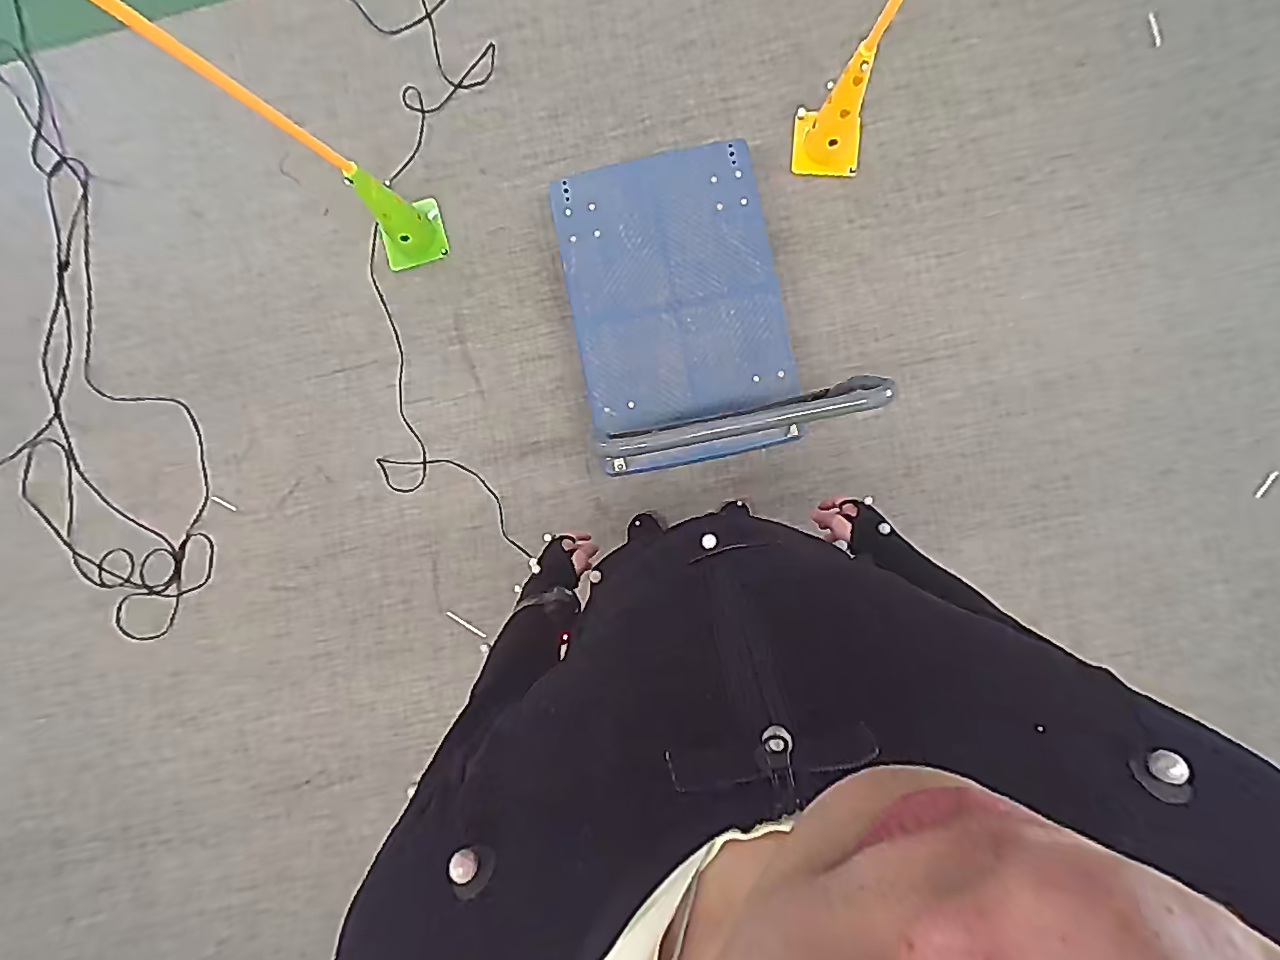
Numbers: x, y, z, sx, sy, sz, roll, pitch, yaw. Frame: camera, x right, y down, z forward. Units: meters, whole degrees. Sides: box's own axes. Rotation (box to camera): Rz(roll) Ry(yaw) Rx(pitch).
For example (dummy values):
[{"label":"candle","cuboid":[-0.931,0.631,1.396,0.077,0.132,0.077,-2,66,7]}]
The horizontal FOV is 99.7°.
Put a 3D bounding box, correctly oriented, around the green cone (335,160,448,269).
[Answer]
[{"label":"green cone","cuboid":[-0.739,-0.796,1.555,0.202,0.368,0.200,-16,86,4]}]
